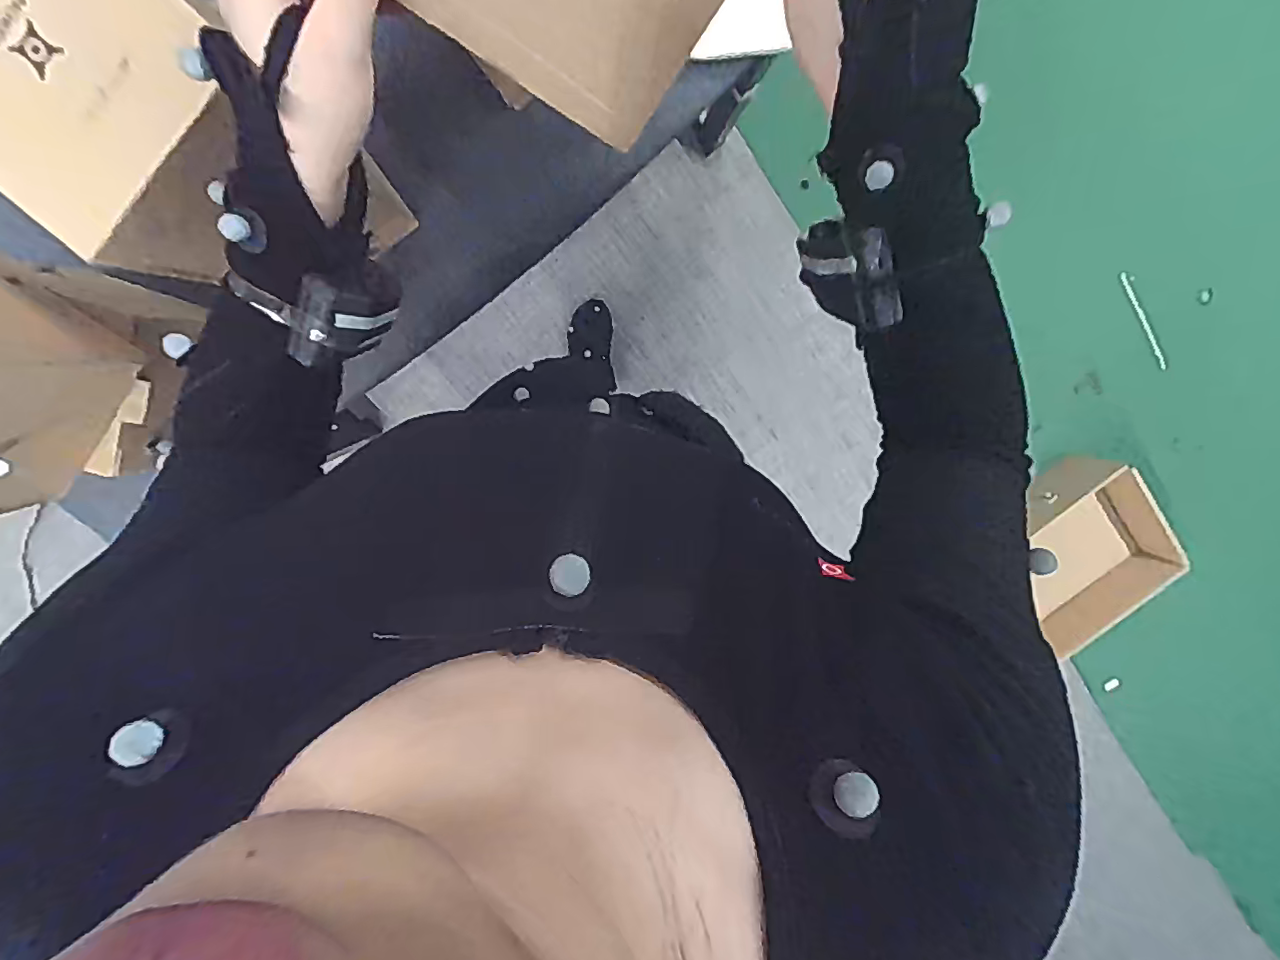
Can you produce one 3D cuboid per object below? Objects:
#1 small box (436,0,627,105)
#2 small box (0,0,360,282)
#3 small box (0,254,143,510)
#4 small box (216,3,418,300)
[{"bbox_3d":[-0.117,-0.519,0.519,0.179,0.176,0.168,-39,102,6],"label":"small box"},{"bbox_3d":[-0.355,-0.269,0.397,0.179,0.176,0.168,43,98,-13],"label":"small box"},{"bbox_3d":[-0.566,-0.076,0.429,0.168,0.176,0.179,37,100,-11],"label":"small box"},{"bbox_3d":[-0.368,-0.307,0.555,0.168,0.176,0.179,-35,103,5],"label":"small box"}]
